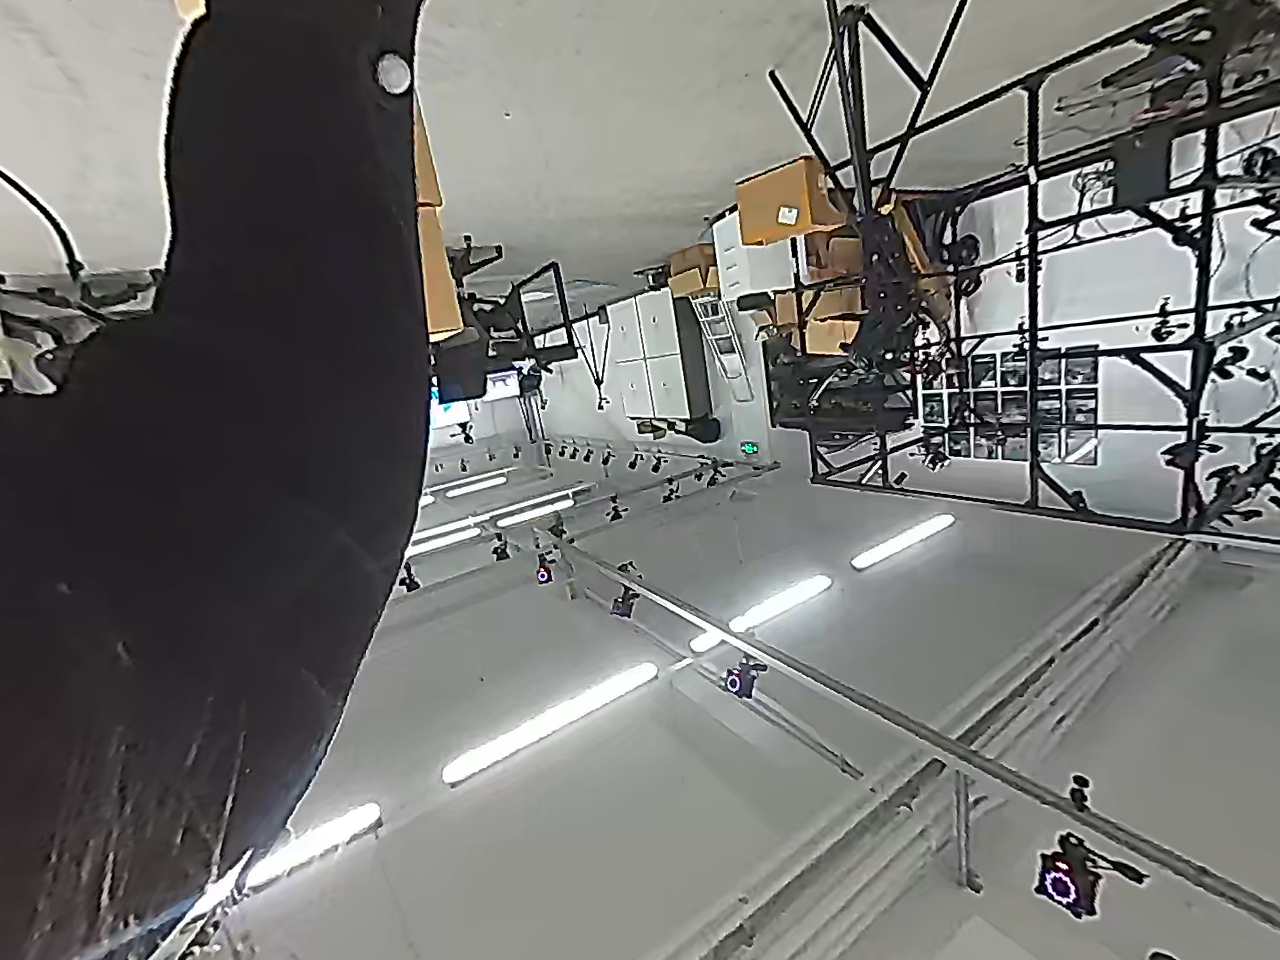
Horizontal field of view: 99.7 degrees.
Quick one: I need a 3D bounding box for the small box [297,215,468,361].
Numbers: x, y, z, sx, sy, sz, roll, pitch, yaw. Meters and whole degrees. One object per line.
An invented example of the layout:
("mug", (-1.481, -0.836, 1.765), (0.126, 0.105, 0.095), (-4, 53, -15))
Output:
("small box", (-0.375, -0.277, 0.789), (0.179, 0.176, 0.168), (-18, -165, -28))
